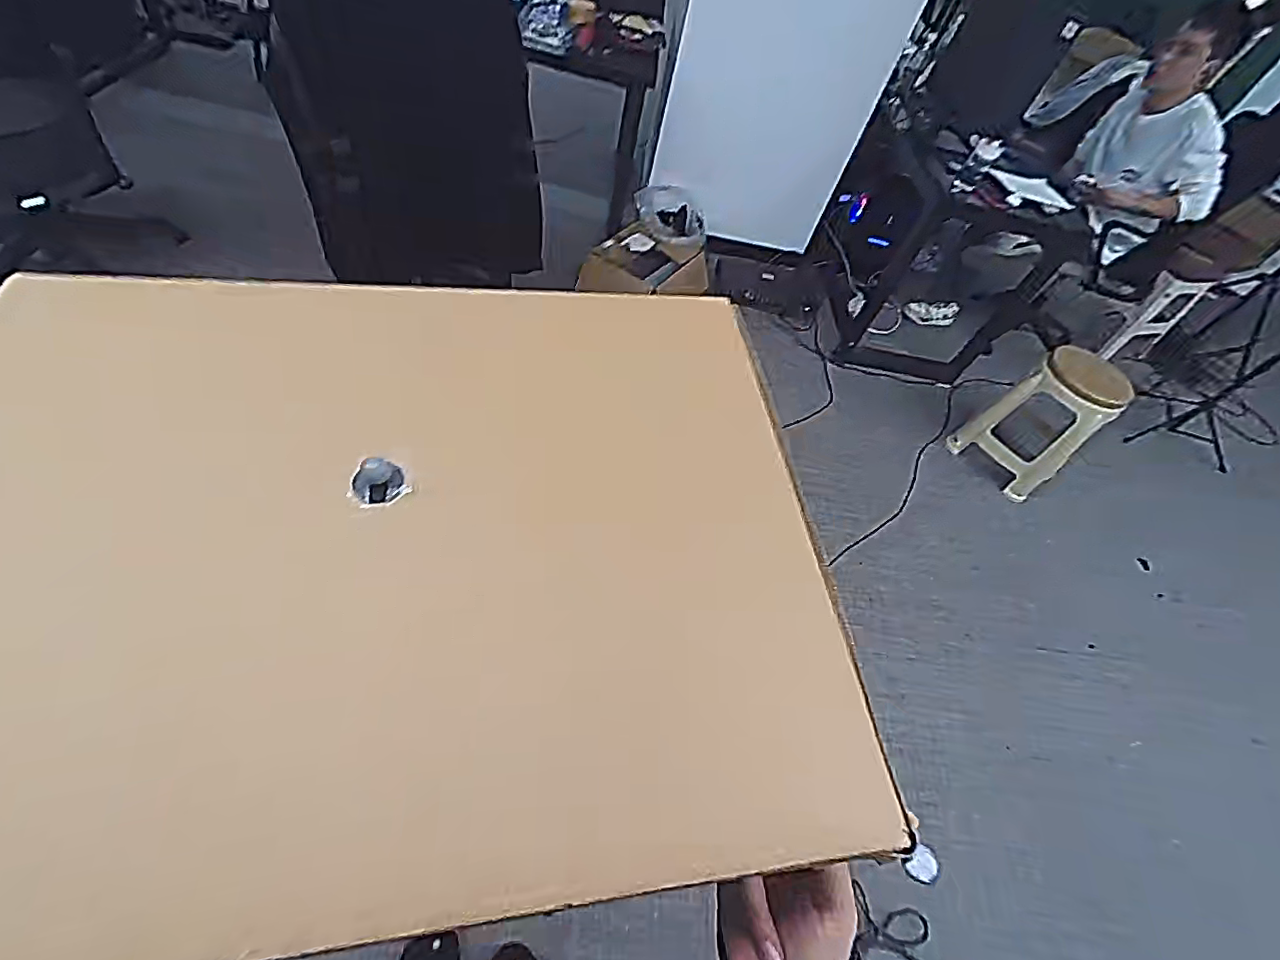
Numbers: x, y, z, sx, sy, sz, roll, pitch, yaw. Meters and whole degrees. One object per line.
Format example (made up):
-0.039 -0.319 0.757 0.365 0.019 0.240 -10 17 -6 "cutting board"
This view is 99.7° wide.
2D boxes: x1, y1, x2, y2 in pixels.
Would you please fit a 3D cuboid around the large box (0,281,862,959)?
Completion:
-0.151 0.089 0.367 0.408 0.320 0.320 -4 59 -10 "large box"
